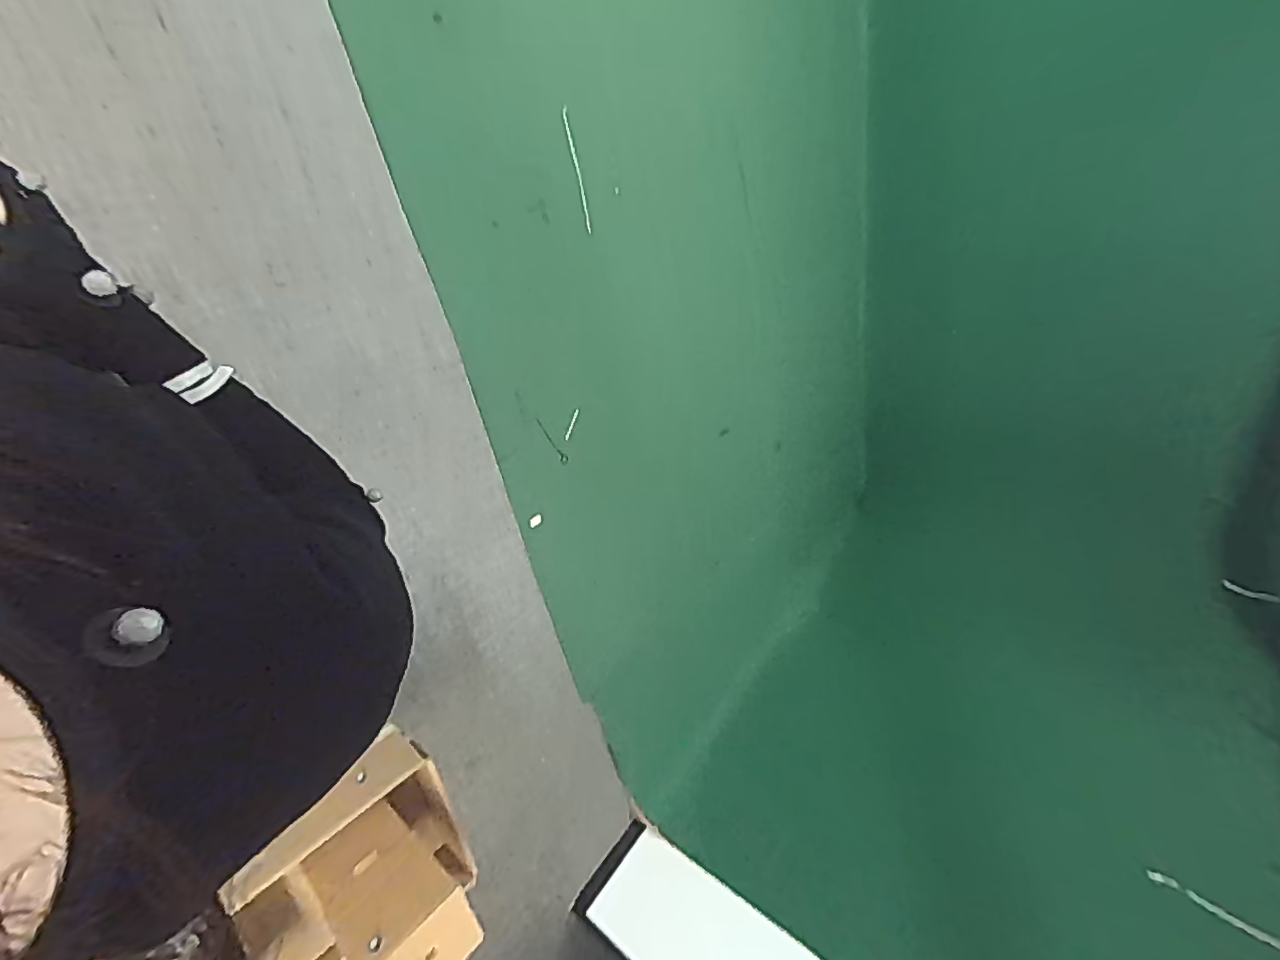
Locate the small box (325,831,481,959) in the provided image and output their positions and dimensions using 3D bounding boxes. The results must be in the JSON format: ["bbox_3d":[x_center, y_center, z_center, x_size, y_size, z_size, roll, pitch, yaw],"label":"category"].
[{"bbox_3d":[-0.419,0.781,0.963,0.179,0.176,0.168,-31,122,-39],"label":"small box"}]
